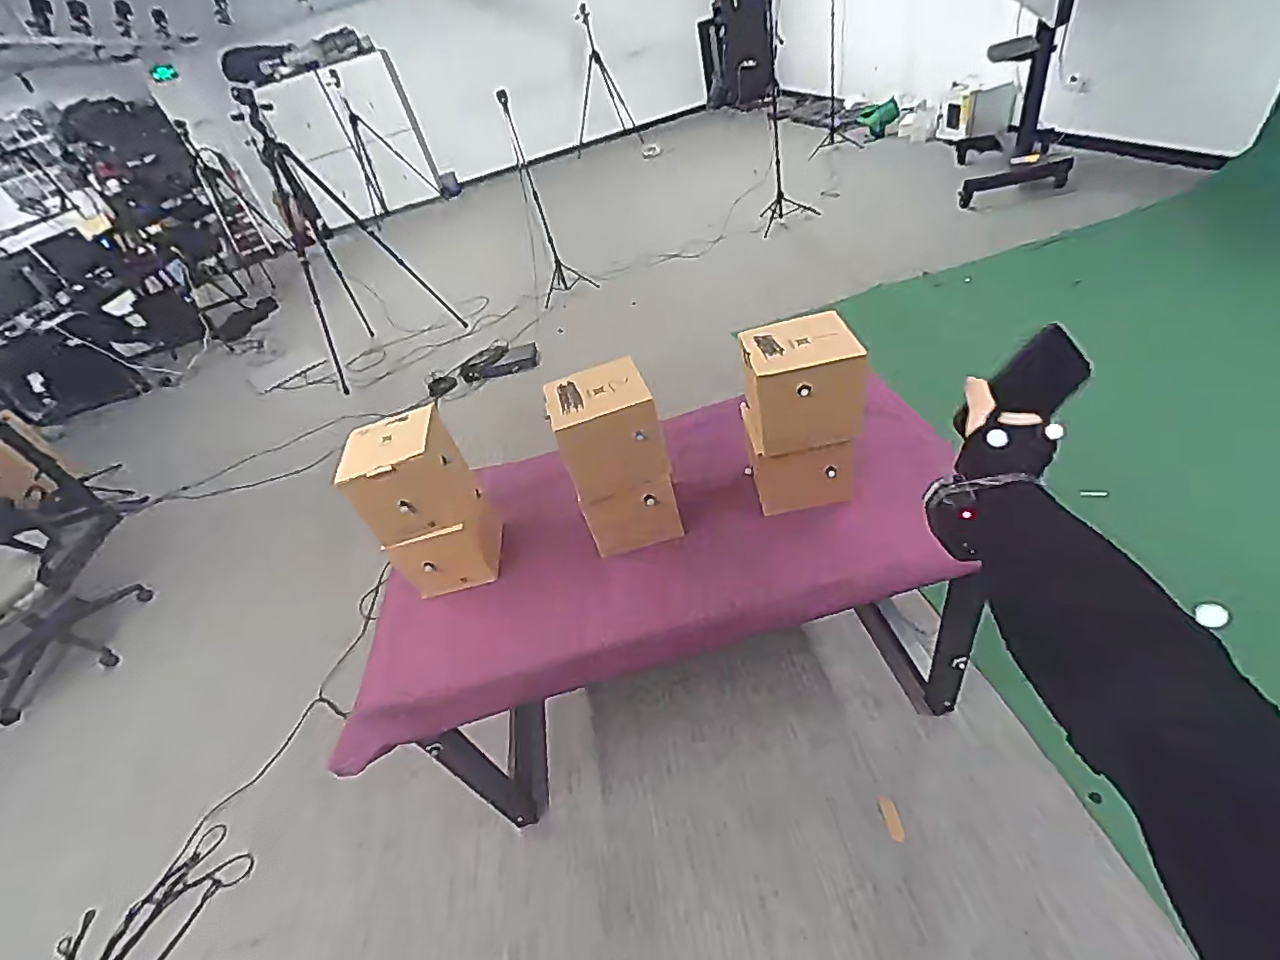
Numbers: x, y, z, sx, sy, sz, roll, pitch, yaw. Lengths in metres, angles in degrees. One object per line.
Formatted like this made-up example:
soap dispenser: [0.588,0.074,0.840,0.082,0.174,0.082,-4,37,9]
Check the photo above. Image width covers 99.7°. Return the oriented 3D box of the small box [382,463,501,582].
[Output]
small box: [-0.406,0.096,1.139,0.168,0.176,0.179,-14,41,4]

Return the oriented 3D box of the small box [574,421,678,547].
small box: [-0.026,0.010,1.101,0.179,0.176,0.168,-15,41,3]

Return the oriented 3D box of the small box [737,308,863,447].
small box: [0.279,-0.176,0.955,0.179,0.176,0.168,-10,41,7]

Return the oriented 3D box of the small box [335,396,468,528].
small box: [-0.444,-0.028,1.038,0.168,0.176,0.179,-17,41,-1]

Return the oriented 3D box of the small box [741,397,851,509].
small box: [0.305,-0.065,1.073,0.179,0.176,0.168,-11,41,8]
